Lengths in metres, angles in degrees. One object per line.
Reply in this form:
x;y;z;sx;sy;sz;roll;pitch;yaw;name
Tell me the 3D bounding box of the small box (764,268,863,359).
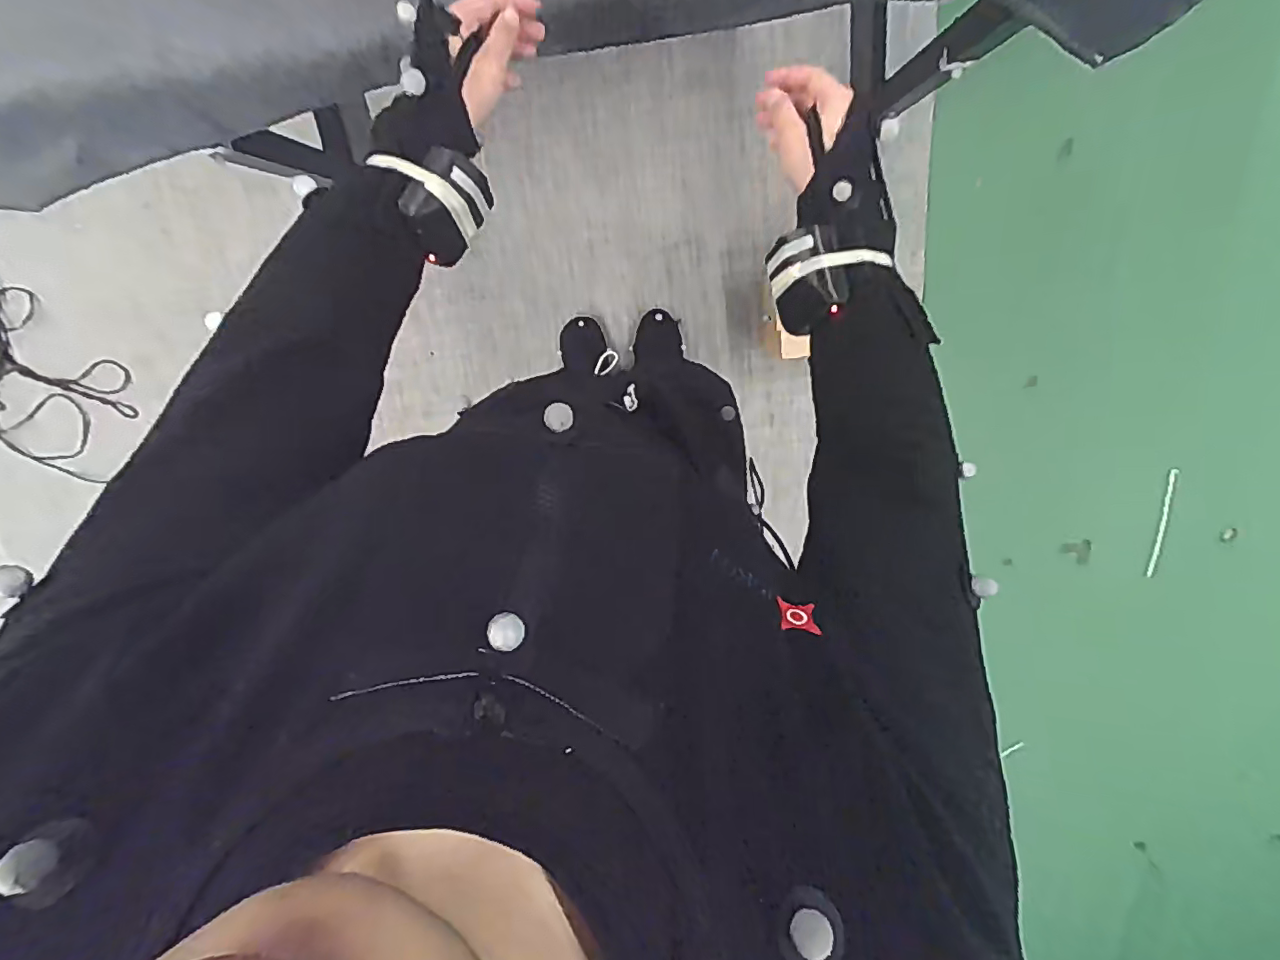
0.372;-0.362;1.182;0.179;0.176;0.168;-7;108;4;small box
